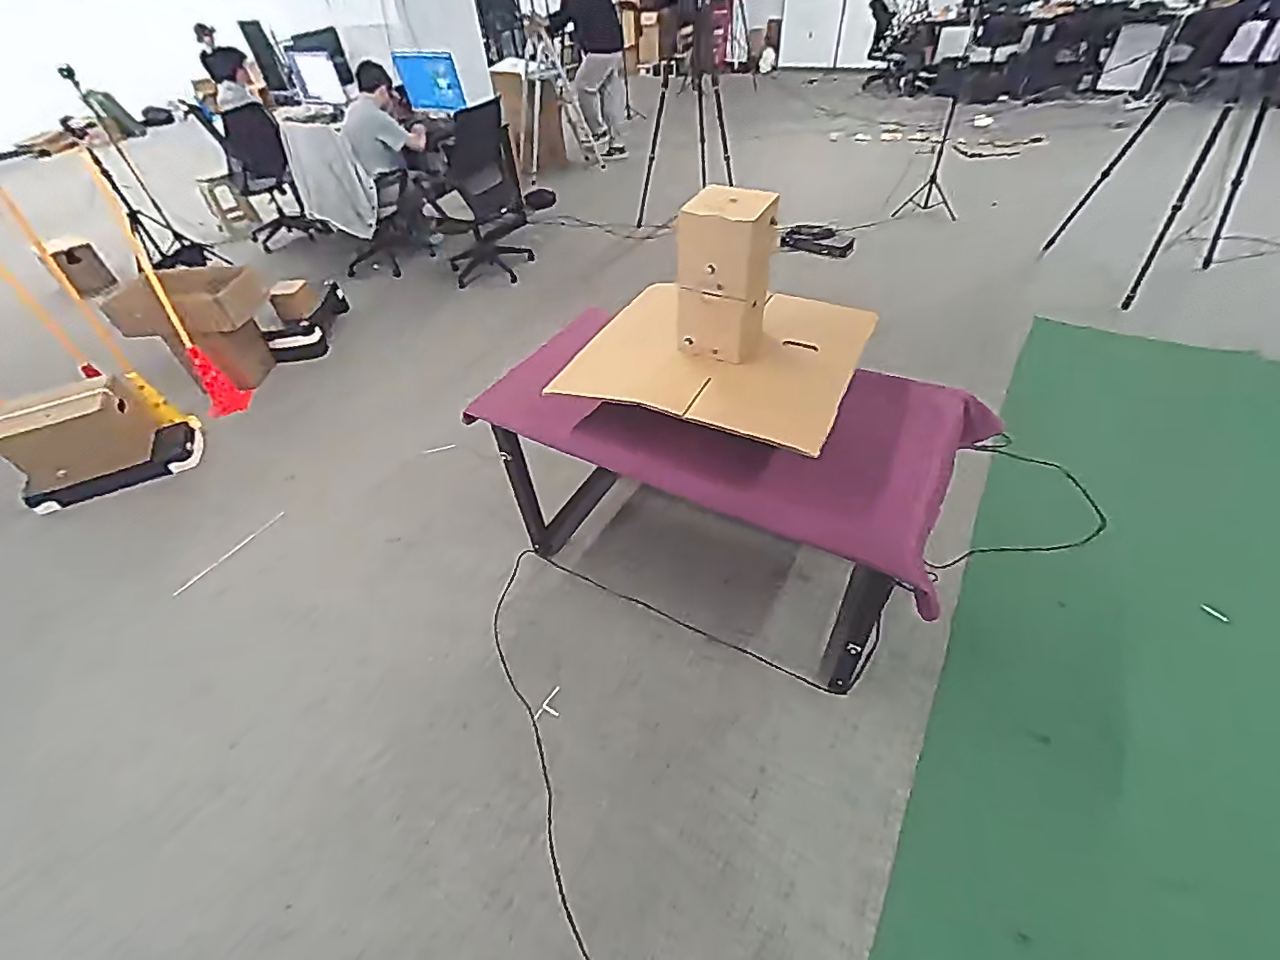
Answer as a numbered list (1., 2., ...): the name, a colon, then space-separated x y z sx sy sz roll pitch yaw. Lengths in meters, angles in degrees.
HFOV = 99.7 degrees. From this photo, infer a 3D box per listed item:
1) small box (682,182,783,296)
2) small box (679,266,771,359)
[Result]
1. small box: 0.199 -0.534 1.197 0.168 0.176 0.179 20 51 21
2. small box: 0.204 -0.418 1.313 0.168 0.176 0.179 20 50 20
